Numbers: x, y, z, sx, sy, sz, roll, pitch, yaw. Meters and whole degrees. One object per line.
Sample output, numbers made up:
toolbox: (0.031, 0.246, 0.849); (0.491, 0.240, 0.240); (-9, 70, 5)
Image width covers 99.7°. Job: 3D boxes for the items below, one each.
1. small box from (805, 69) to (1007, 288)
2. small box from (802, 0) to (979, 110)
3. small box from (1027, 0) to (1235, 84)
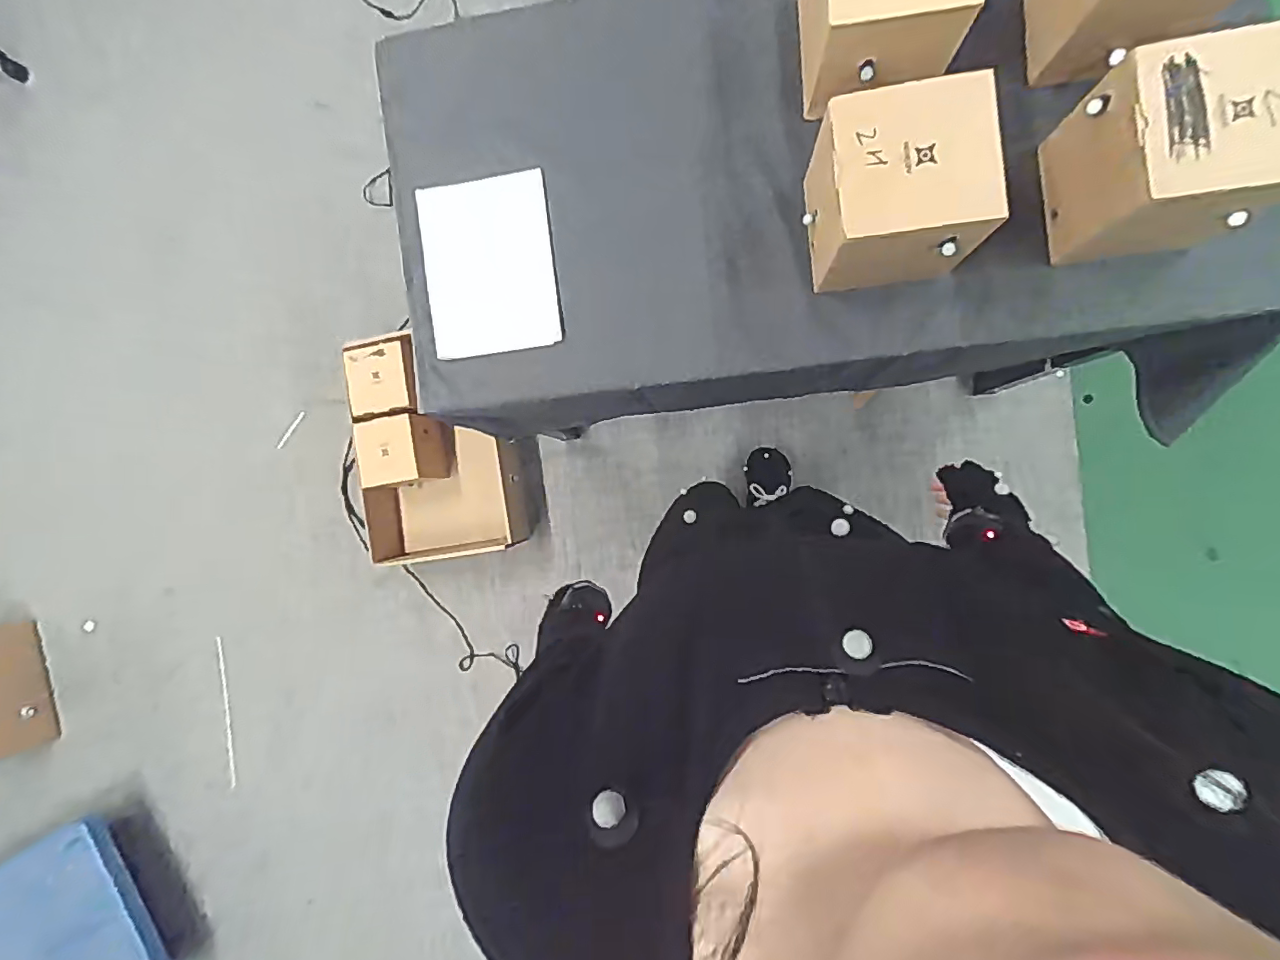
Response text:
small box: (0.313, -0.355, 0.671); (0.179, 0.176, 0.168); (-5, 88, 8)
small box: (0.301, -0.600, 0.677); (0.168, 0.176, 0.179); (-2, 89, 8)
small box: (0.587, -0.619, 0.636); (0.168, 0.176, 0.179); (-3, 90, 8)
